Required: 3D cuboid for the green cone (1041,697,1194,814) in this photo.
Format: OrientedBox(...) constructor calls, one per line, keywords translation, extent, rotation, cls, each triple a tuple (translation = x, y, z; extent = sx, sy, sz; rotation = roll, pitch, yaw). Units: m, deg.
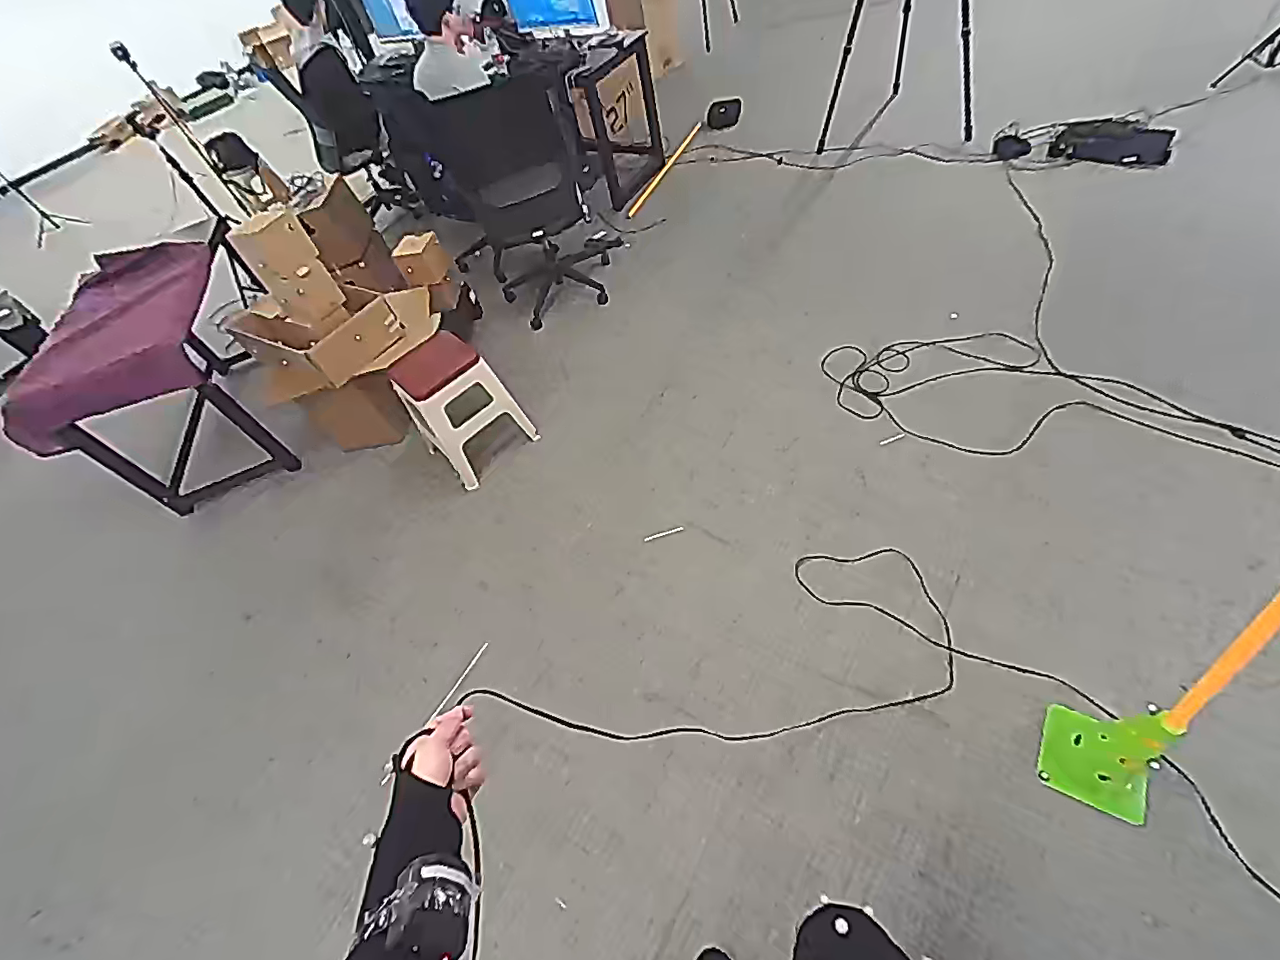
OrientedBox(translation=(1.027, 0.530, 1.123), extent=(0.200, 0.368, 0.202), rotation=(18, 60, 26), cls="green cone")
